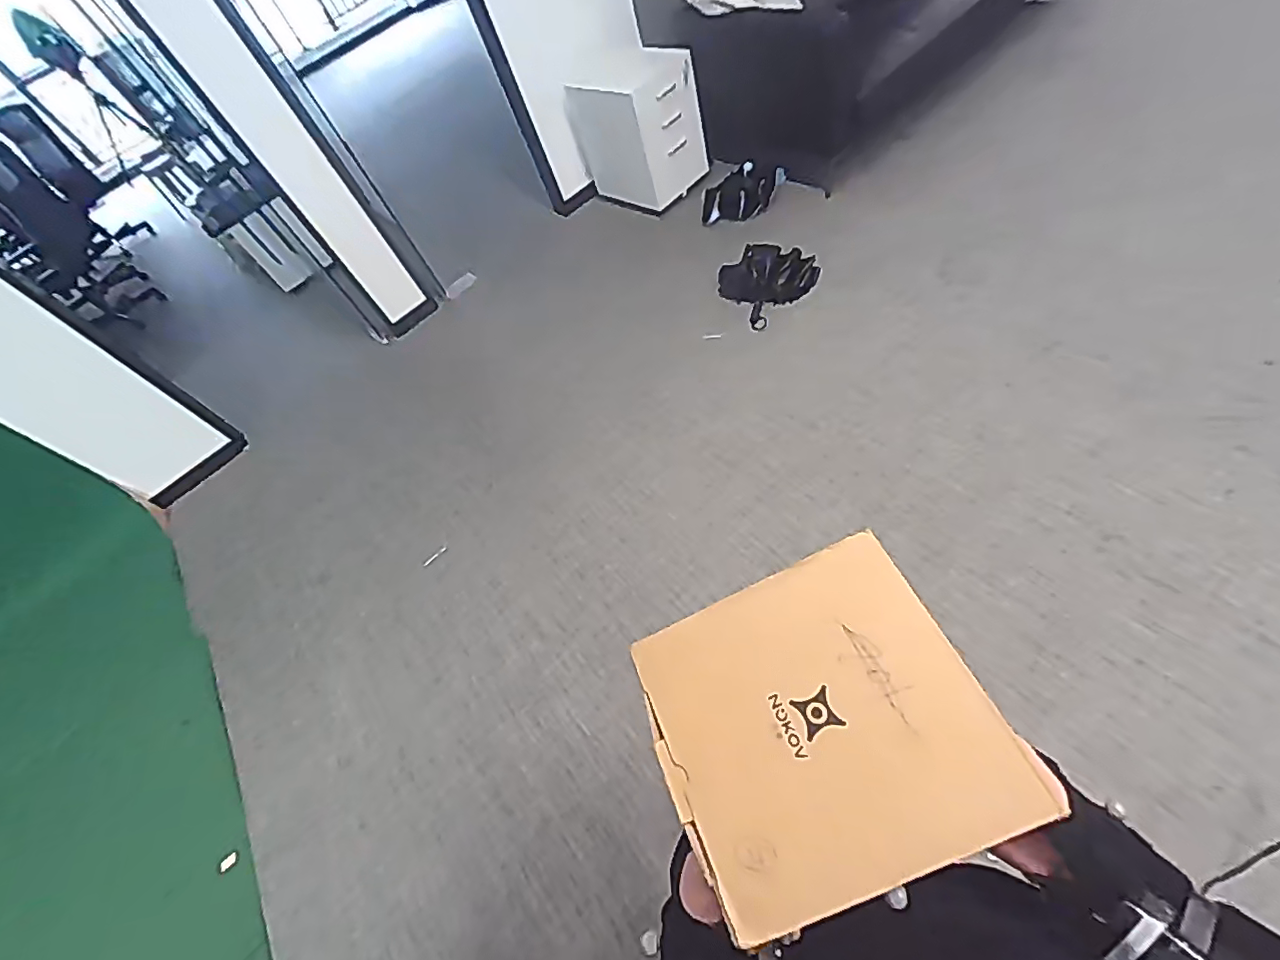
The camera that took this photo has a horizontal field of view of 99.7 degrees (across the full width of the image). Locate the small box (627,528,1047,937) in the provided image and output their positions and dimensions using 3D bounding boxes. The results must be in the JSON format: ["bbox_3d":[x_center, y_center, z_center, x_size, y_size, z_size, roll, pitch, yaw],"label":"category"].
[{"bbox_3d":[0.119,0.166,0.374,0.179,0.176,0.168,-28,58,4],"label":"small box"}]
